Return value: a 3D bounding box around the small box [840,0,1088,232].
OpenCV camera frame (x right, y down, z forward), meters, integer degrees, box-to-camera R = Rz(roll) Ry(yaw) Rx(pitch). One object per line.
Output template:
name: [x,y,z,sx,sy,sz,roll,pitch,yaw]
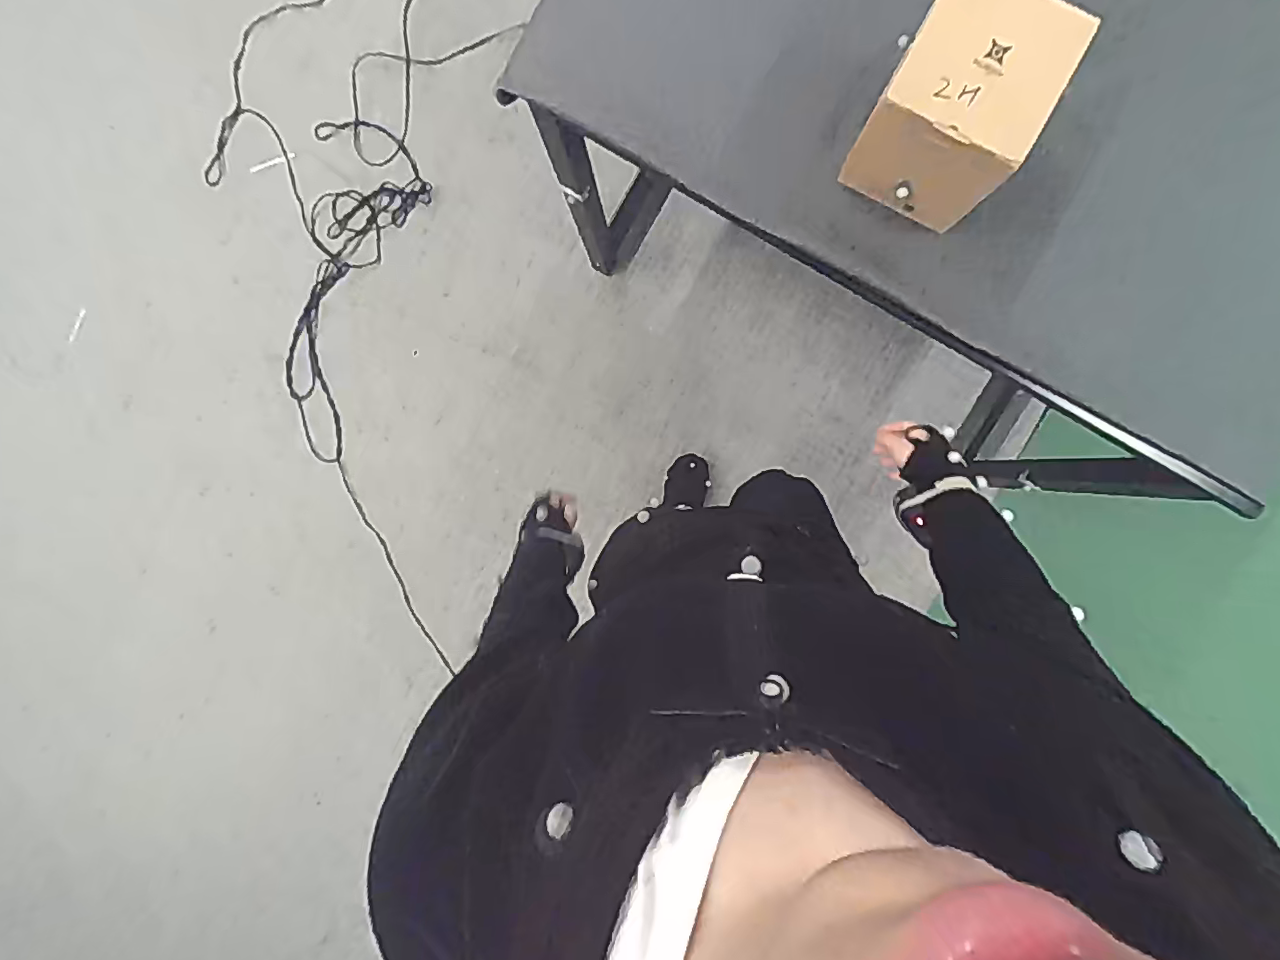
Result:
small box: [0.376,-0.450,0.665,0.168,0.176,0.179,28,92,2]
